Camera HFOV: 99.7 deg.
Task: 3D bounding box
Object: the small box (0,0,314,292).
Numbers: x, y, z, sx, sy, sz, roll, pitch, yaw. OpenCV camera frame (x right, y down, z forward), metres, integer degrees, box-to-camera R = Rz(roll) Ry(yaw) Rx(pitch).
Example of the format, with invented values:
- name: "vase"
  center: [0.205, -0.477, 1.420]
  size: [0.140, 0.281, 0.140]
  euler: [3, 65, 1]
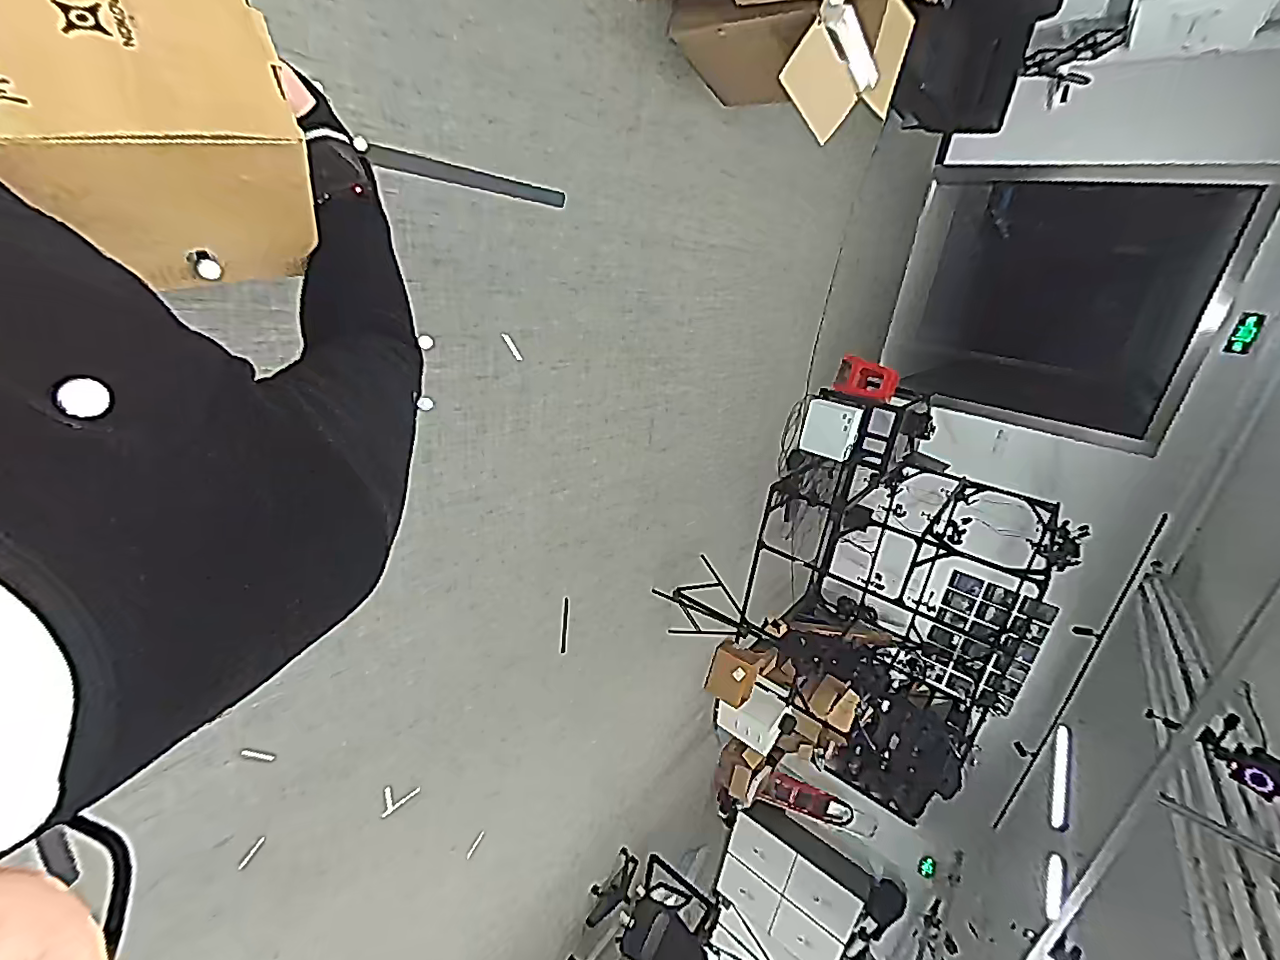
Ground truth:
- name: "small box"
  center: [-0.376, -0.270, 0.424]
  size: [0.179, 0.176, 0.168]
  euler: [-21, 86, -29]
